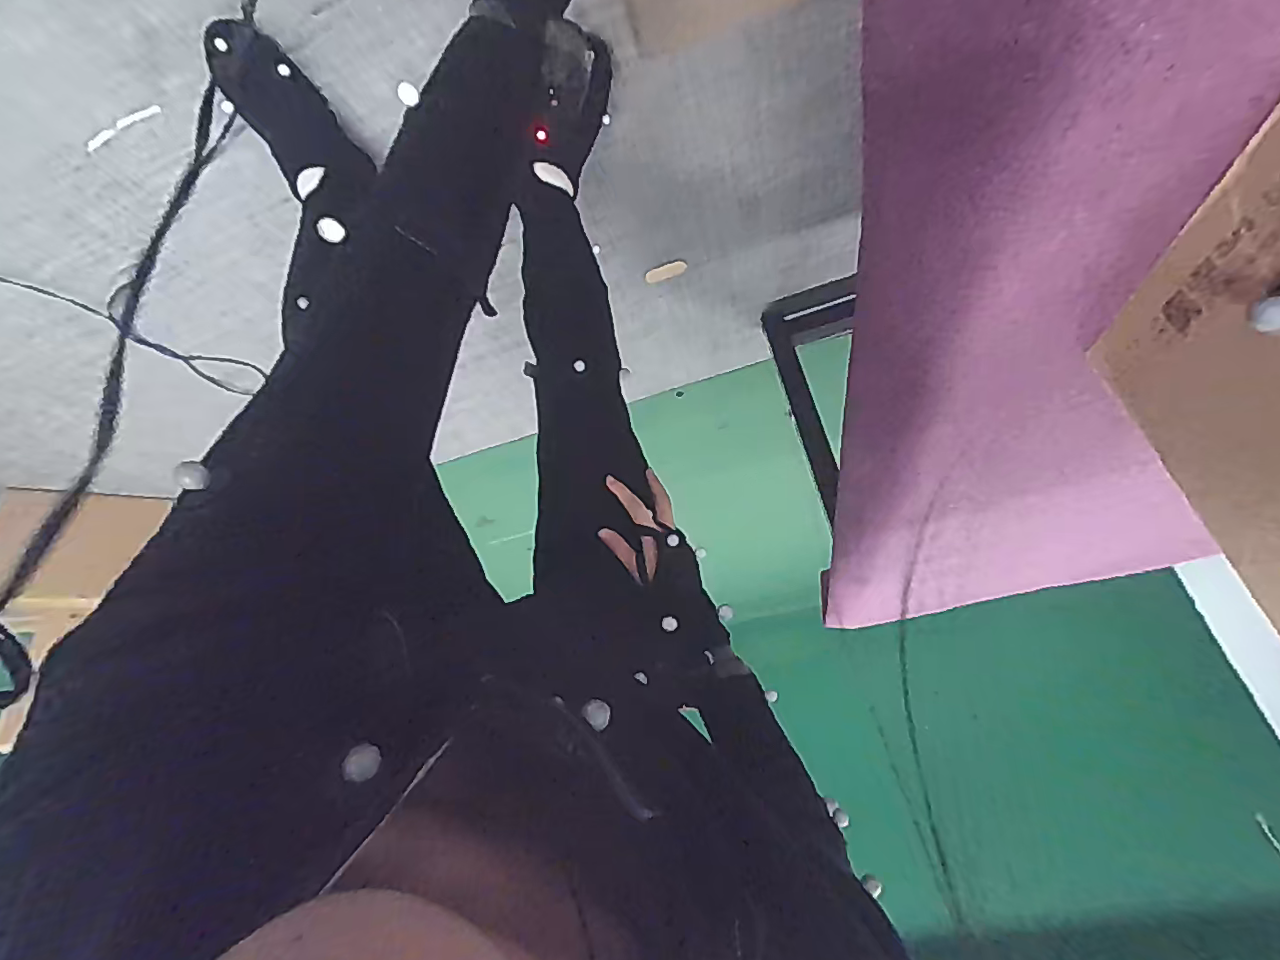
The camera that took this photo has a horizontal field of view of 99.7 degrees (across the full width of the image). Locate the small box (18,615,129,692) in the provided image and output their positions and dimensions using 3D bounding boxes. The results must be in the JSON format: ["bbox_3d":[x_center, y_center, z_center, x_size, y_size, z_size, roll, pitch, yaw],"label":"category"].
[{"bbox_3d":[-1.513,0.472,1.457,0.168,0.176,0.179,10,146,-34],"label":"small box"}]

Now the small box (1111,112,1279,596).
[{"bbox_3d":[0.317,-0.058,0.167,0.179,0.176,0.168,-15,153,10],"label":"small box"}]
